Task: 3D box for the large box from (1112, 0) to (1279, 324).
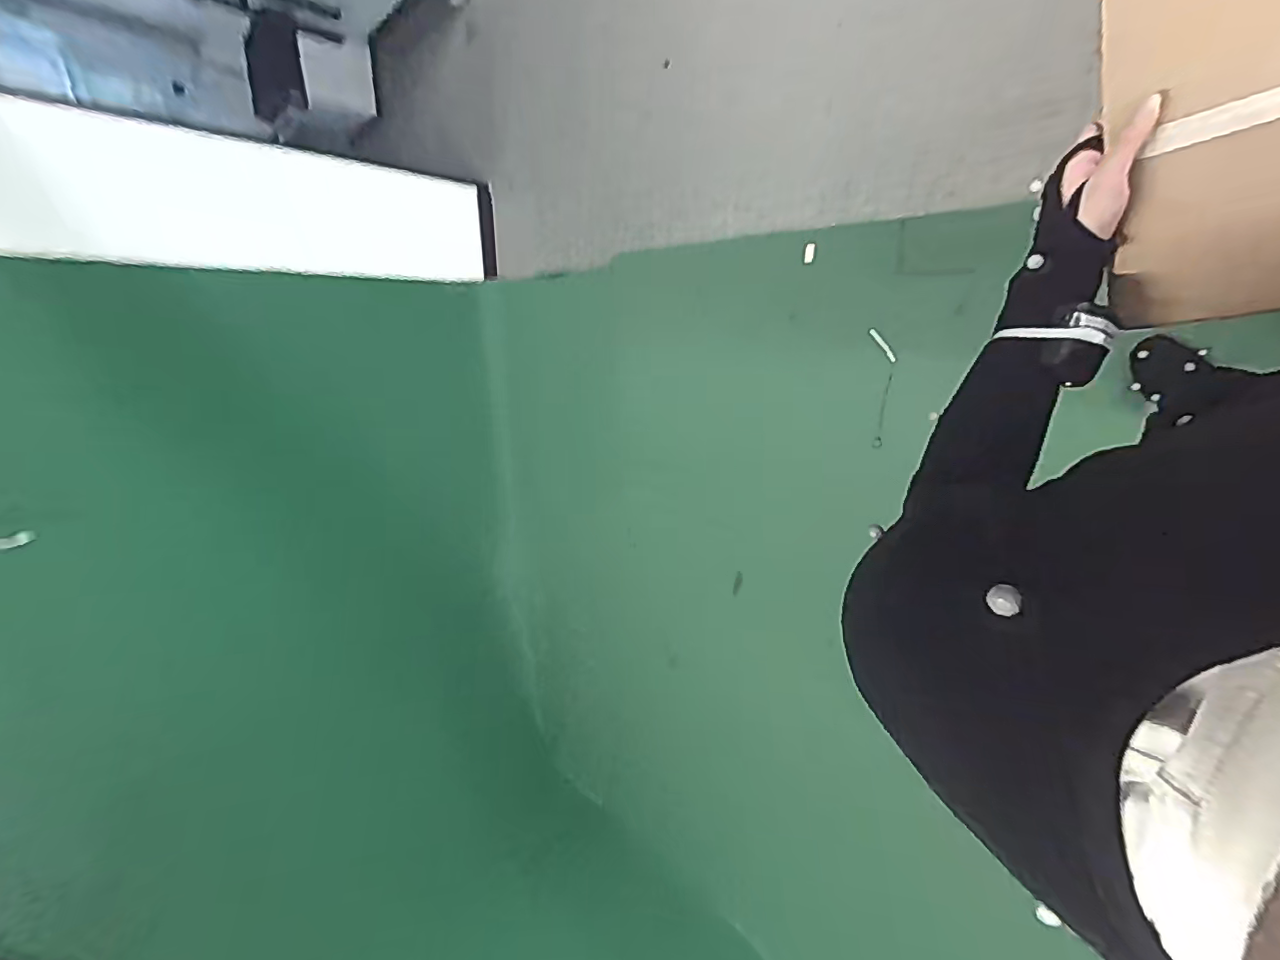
[{"bbox_3d":[0.661,-0.337,0.427,0.408,0.320,0.320,3,113,48],"label":"large box"}]
